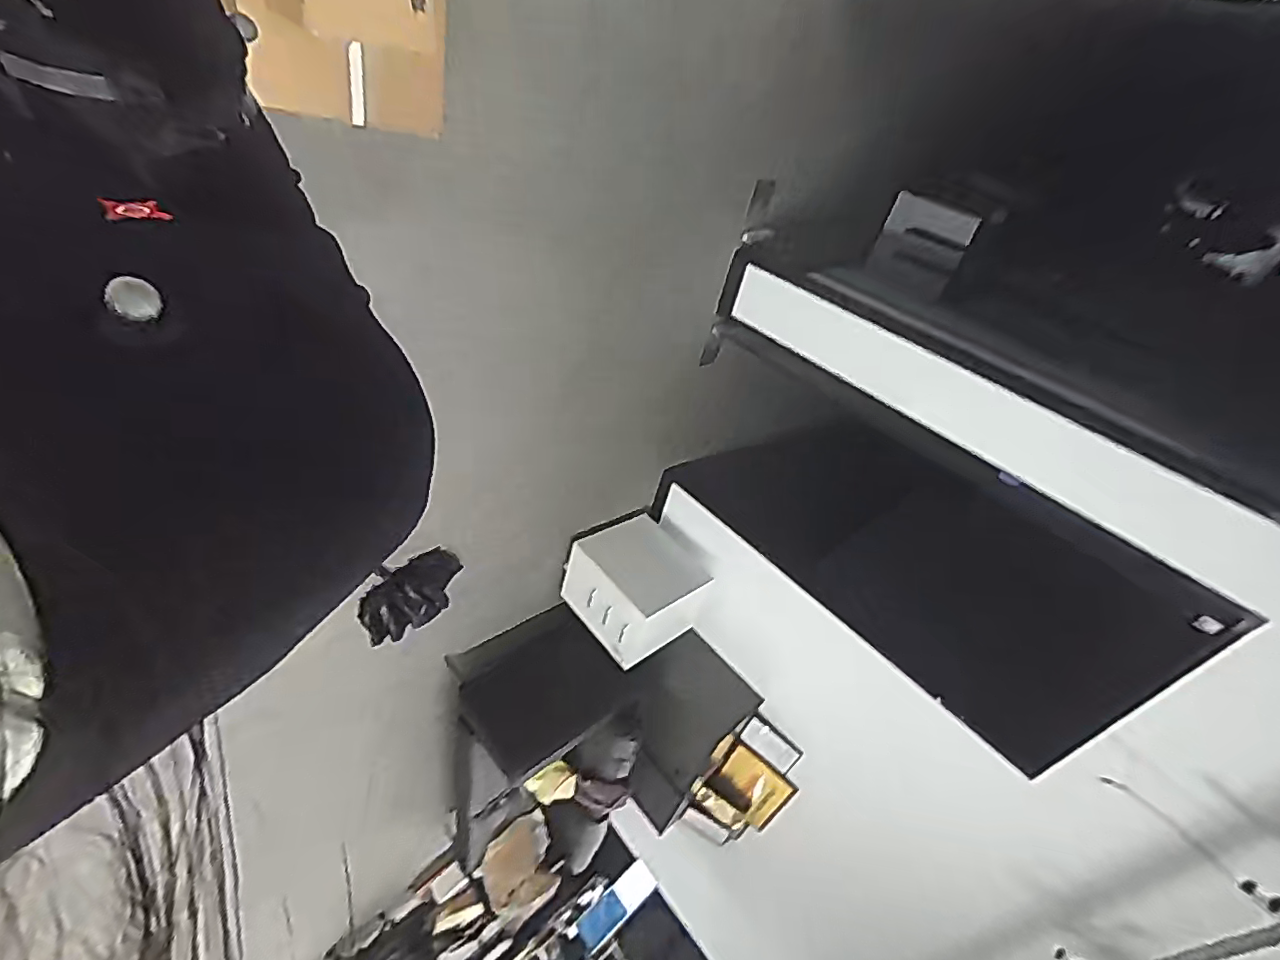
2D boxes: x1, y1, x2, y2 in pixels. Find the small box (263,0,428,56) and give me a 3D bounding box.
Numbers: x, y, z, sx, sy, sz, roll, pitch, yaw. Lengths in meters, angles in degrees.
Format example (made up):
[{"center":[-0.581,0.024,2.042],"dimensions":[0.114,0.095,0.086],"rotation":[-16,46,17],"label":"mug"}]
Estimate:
[{"center":[-0.414,-0.711,0.742],"dimensions":[0.179,0.176,0.168],"rotation":[-23,141,-37],"label":"small box"}]
